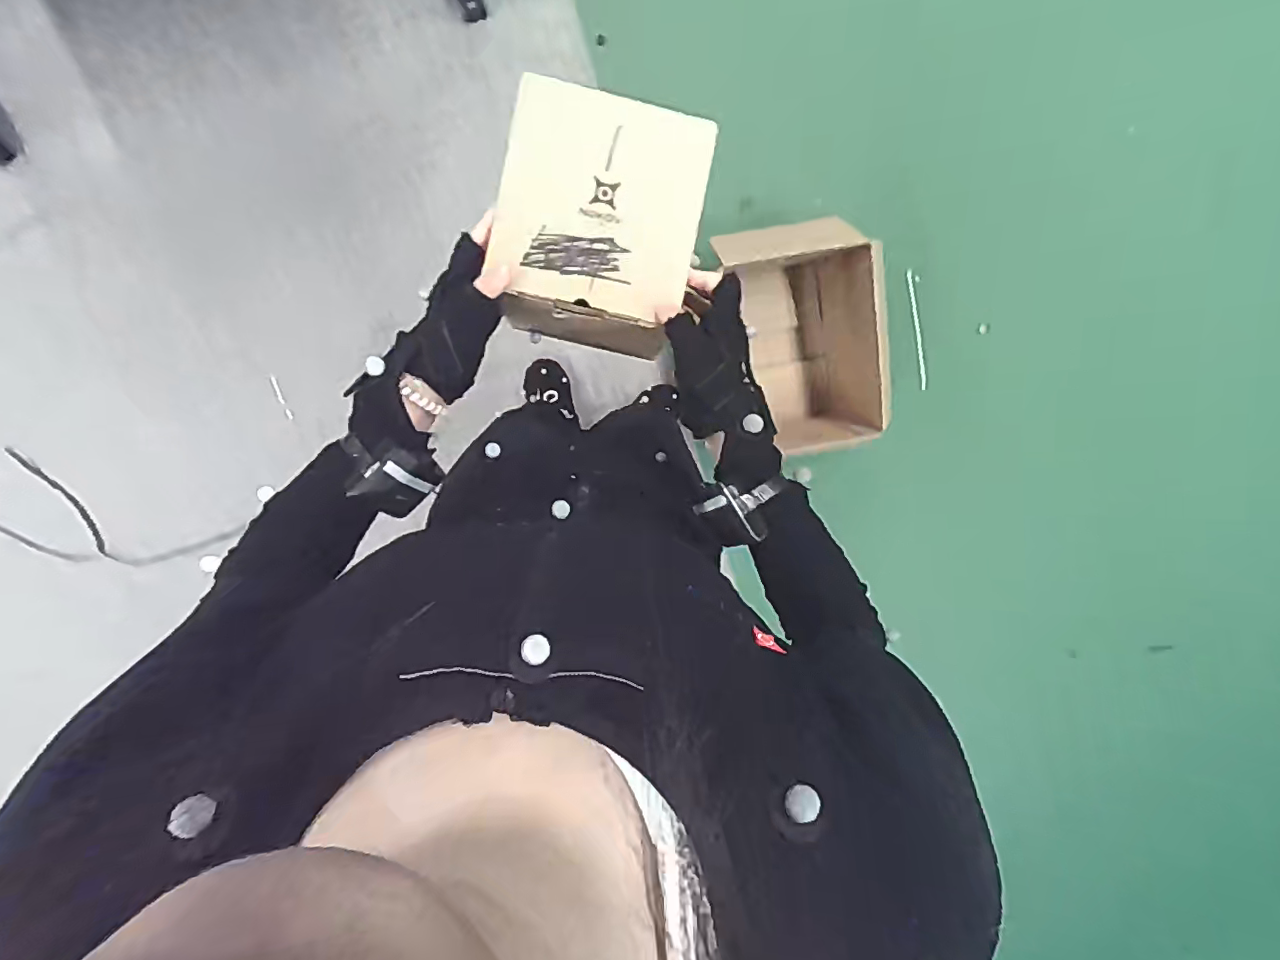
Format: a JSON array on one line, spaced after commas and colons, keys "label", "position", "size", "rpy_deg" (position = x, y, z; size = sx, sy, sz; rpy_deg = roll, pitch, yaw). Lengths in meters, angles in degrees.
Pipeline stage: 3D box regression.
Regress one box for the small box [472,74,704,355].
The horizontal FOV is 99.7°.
[{"label": "small box", "position": [-0.047, -0.230, 0.520], "size": [0.168, 0.176, 0.179], "rpy_deg": [10, 92, -5]}]
